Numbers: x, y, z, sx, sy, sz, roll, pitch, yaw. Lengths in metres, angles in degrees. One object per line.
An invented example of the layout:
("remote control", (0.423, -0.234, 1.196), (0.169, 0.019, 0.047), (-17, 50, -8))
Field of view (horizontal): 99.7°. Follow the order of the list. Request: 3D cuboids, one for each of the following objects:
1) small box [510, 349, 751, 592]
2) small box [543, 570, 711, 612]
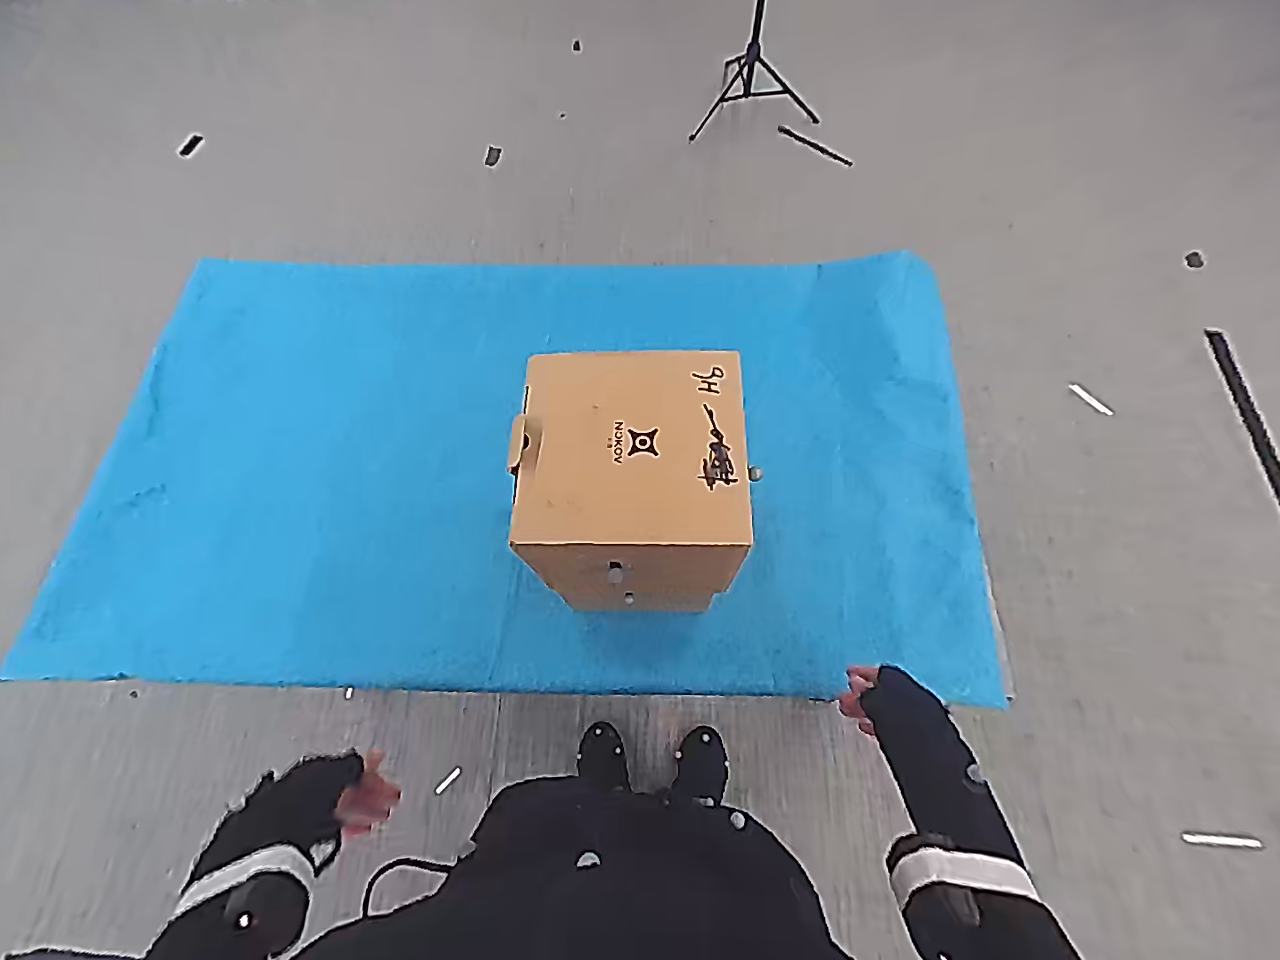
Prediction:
("small box", (-0.004, 0.003, 0.488), (0.179, 0.176, 0.168), (-3, 67, 2))
("small box", (-0.003, 0.060, 0.640), (0.179, 0.176, 0.168), (1, 68, 4))
